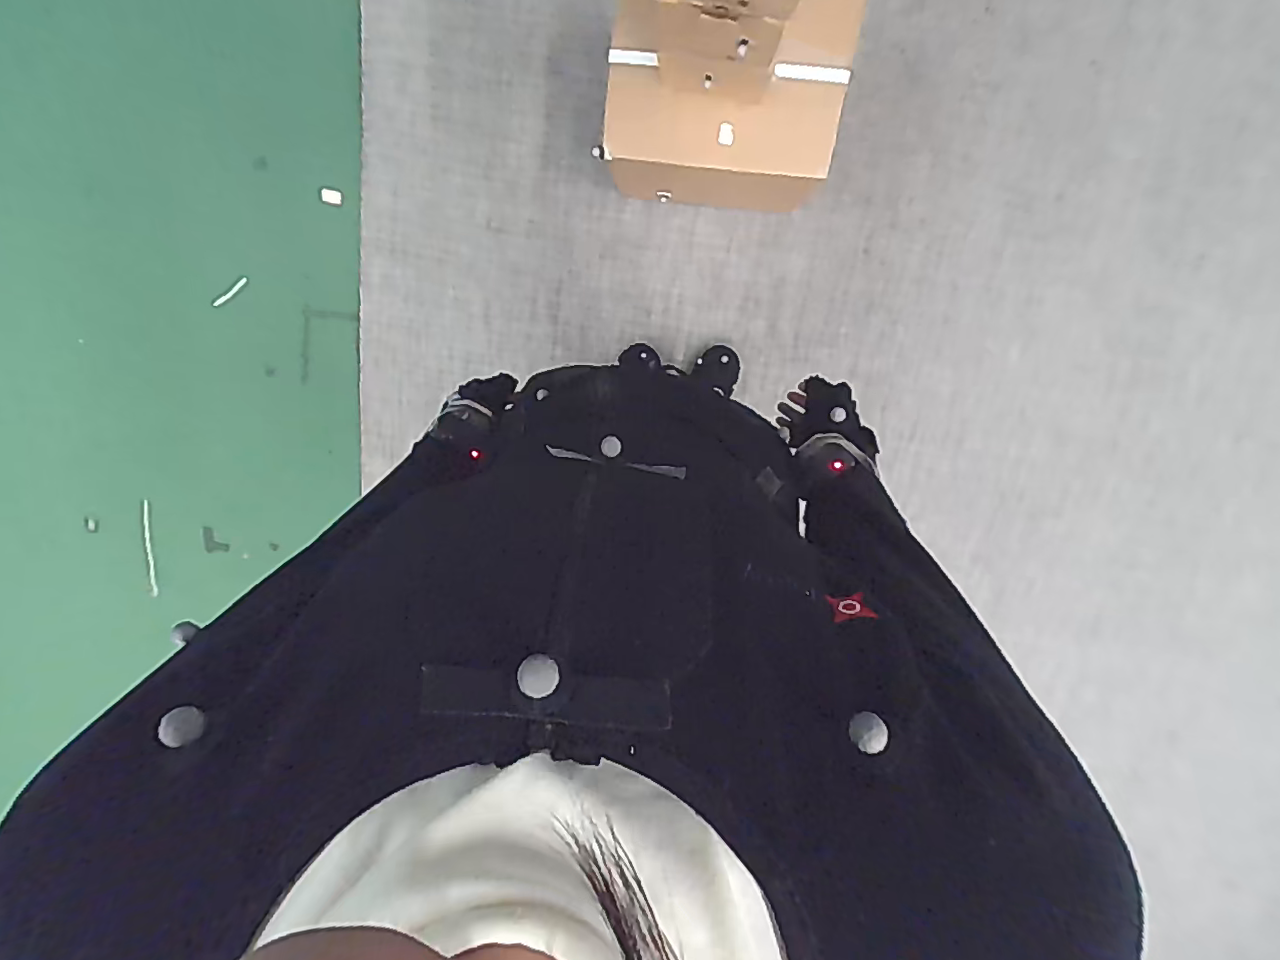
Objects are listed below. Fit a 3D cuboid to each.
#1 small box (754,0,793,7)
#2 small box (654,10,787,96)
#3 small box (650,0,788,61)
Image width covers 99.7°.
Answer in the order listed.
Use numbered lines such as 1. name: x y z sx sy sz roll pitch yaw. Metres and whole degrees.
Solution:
1. small box: 0.106 -0.601 0.515 0.168 0.176 0.179 12 113 -1
2. small box: 0.128 -0.712 0.817 0.179 0.176 0.168 14 111 0
3. small box: 0.110 -0.658 0.669 0.168 0.176 0.179 10 111 0
